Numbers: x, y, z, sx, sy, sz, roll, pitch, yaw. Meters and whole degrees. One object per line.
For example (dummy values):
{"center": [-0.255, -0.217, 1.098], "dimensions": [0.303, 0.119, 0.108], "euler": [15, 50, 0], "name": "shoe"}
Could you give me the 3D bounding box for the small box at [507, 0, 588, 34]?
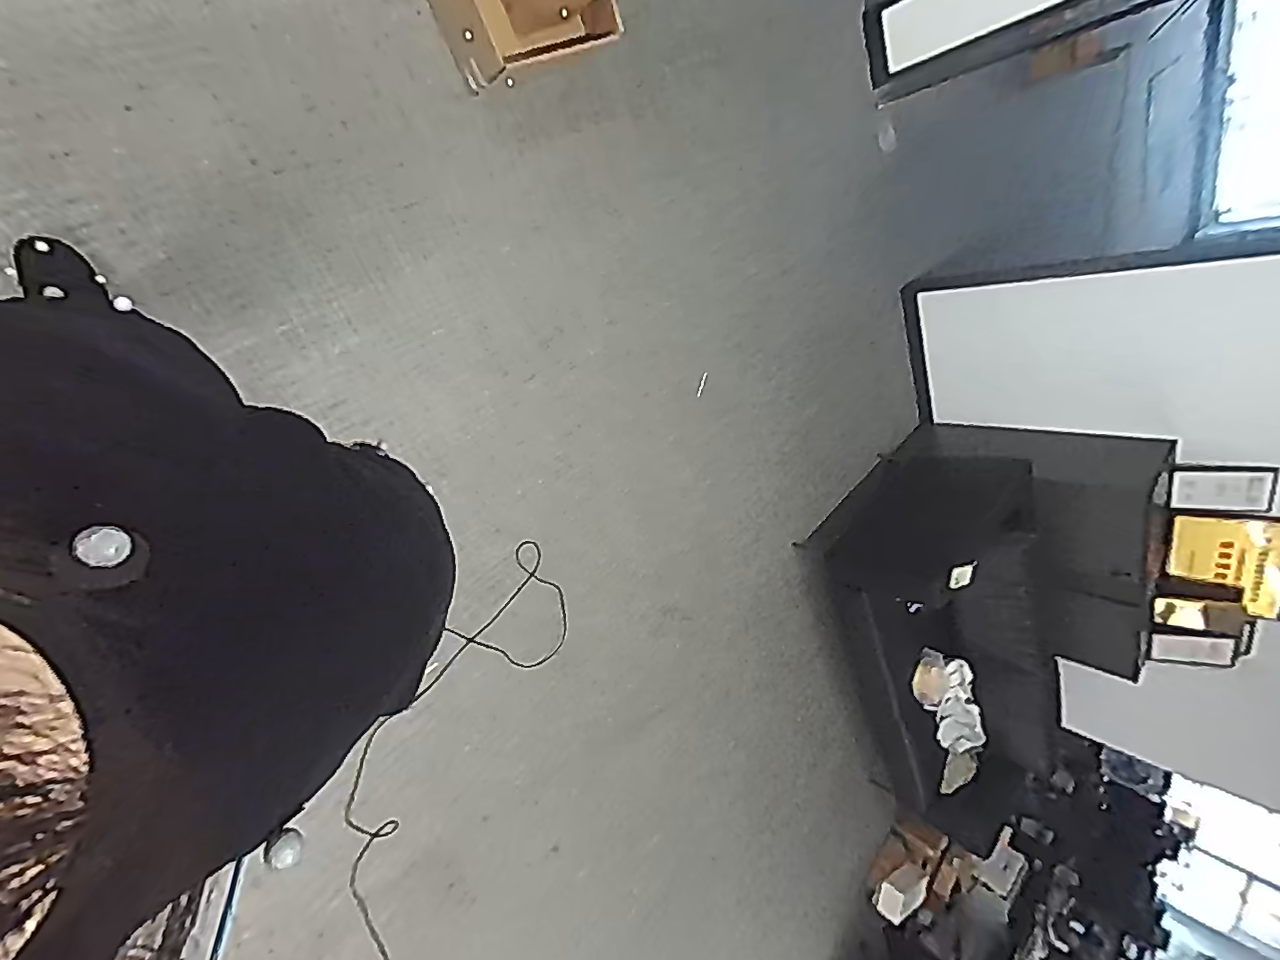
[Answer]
{"center": [-0.234, -1.237, 1.323], "dimensions": [0.179, 0.176, 0.168], "euler": [-38, 120, -25], "name": "small box"}
